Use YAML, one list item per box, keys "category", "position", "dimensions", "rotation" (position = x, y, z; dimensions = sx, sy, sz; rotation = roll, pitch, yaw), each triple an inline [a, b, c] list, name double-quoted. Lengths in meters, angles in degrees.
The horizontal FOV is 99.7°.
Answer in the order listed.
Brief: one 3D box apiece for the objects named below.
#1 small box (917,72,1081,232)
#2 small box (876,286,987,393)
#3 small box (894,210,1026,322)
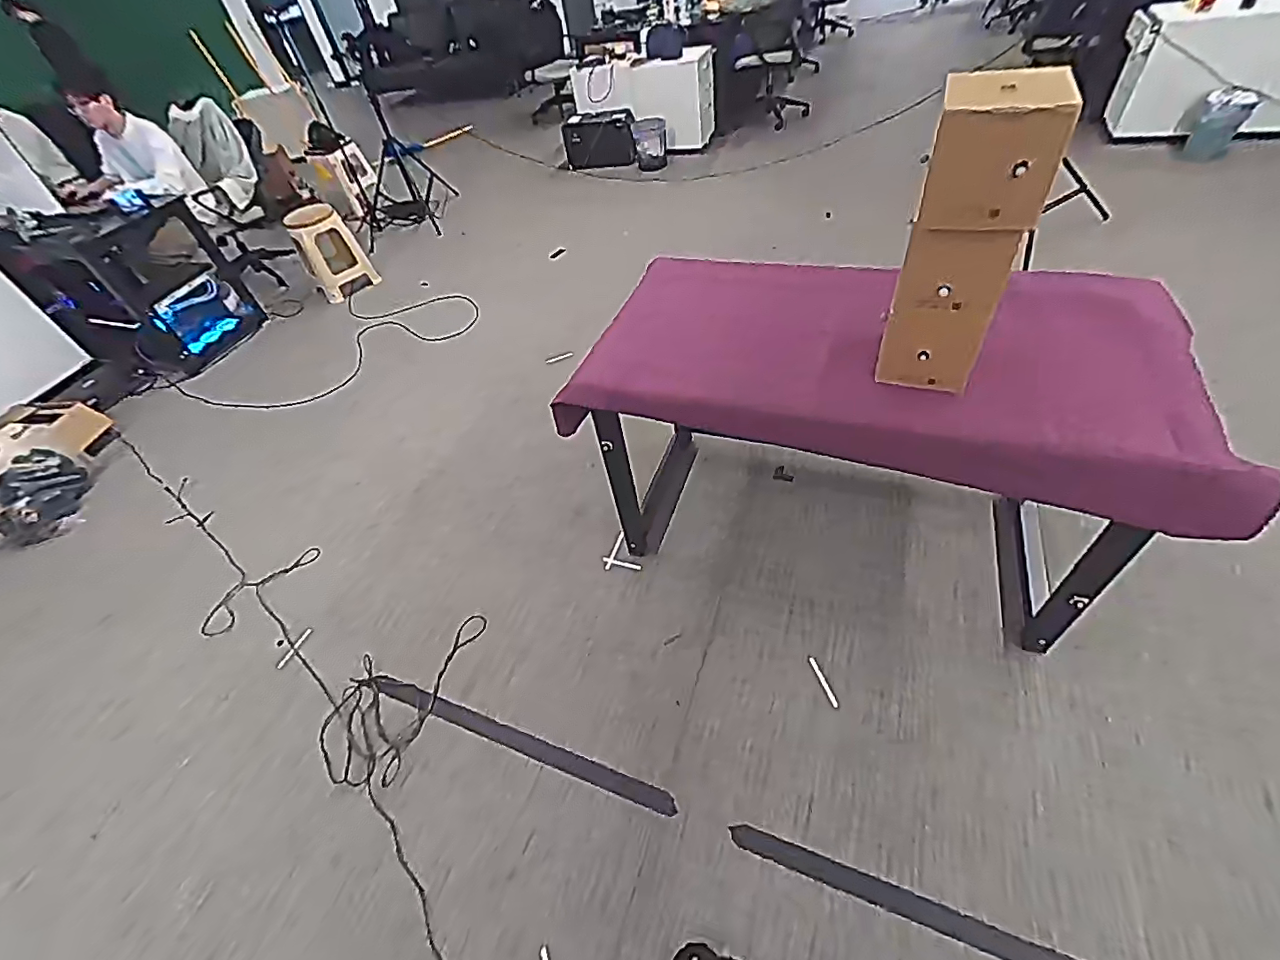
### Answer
- category: "small box"
  position: [0.539, -0.501, 0.836]
  dimensions: [0.168, 0.176, 0.179]
  rotation: [11, 51, 19]
- category: "small box"
  position: [0.585, -0.298, 1.088]
  dimensions: [0.168, 0.176, 0.179]
  rotation: [14, 52, 21]
- category: "small box"
  position: [0.567, -0.409, 0.968]
  dimensions: [0.168, 0.176, 0.179]
  rotation: [13, 52, 21]
